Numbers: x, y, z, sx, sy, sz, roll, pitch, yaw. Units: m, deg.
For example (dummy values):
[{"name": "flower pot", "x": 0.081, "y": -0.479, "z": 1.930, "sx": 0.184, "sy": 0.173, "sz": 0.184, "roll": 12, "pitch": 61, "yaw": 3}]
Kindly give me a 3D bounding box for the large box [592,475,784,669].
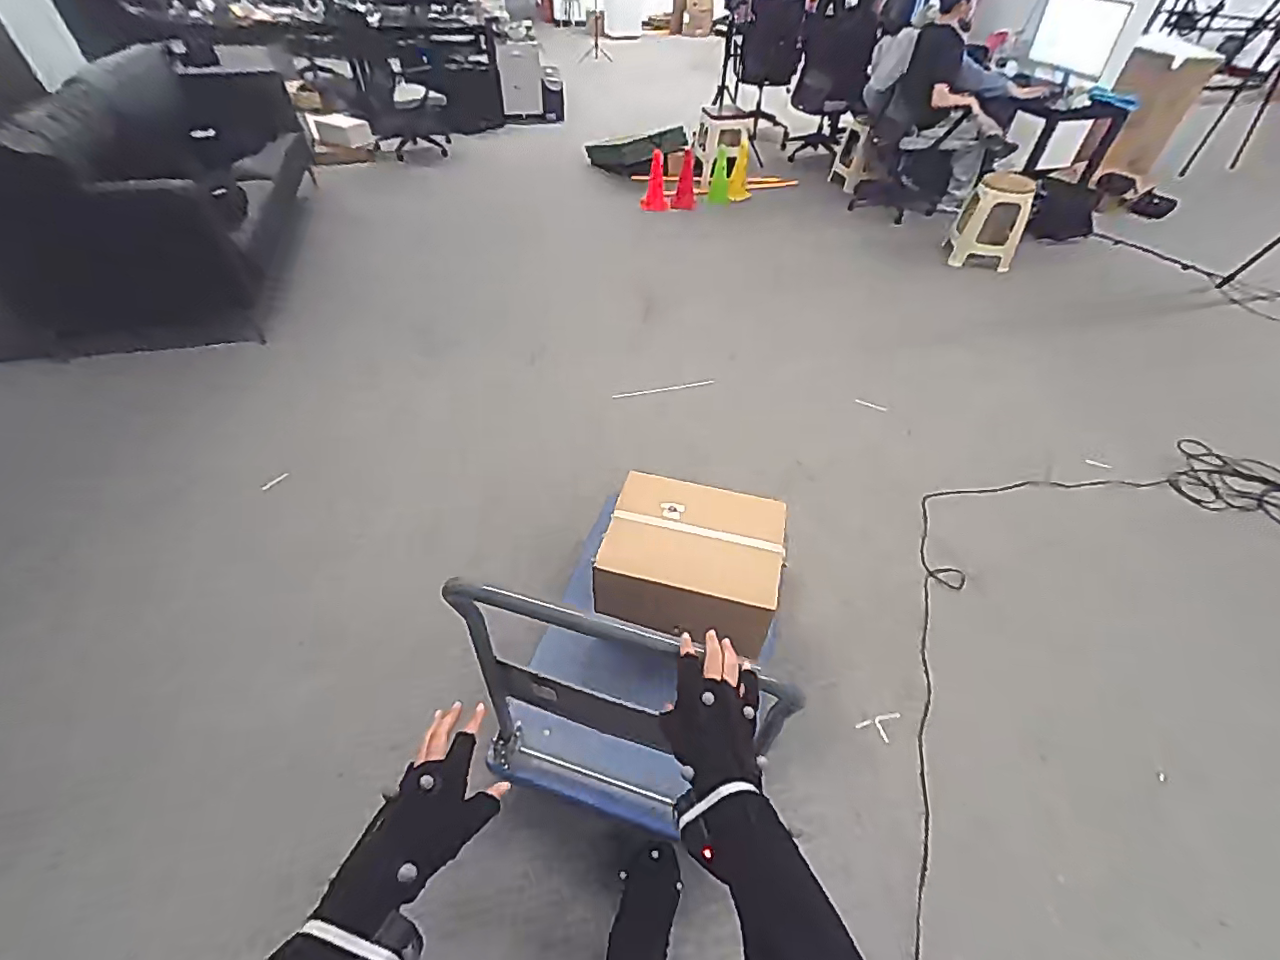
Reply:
[{"name": "large box", "x": 0.126, "y": 0.230, "z": 1.364, "sx": 0.408, "sy": 0.320, "sz": 0.320, "roll": 12, "pitch": 47, "yaw": 11}]
